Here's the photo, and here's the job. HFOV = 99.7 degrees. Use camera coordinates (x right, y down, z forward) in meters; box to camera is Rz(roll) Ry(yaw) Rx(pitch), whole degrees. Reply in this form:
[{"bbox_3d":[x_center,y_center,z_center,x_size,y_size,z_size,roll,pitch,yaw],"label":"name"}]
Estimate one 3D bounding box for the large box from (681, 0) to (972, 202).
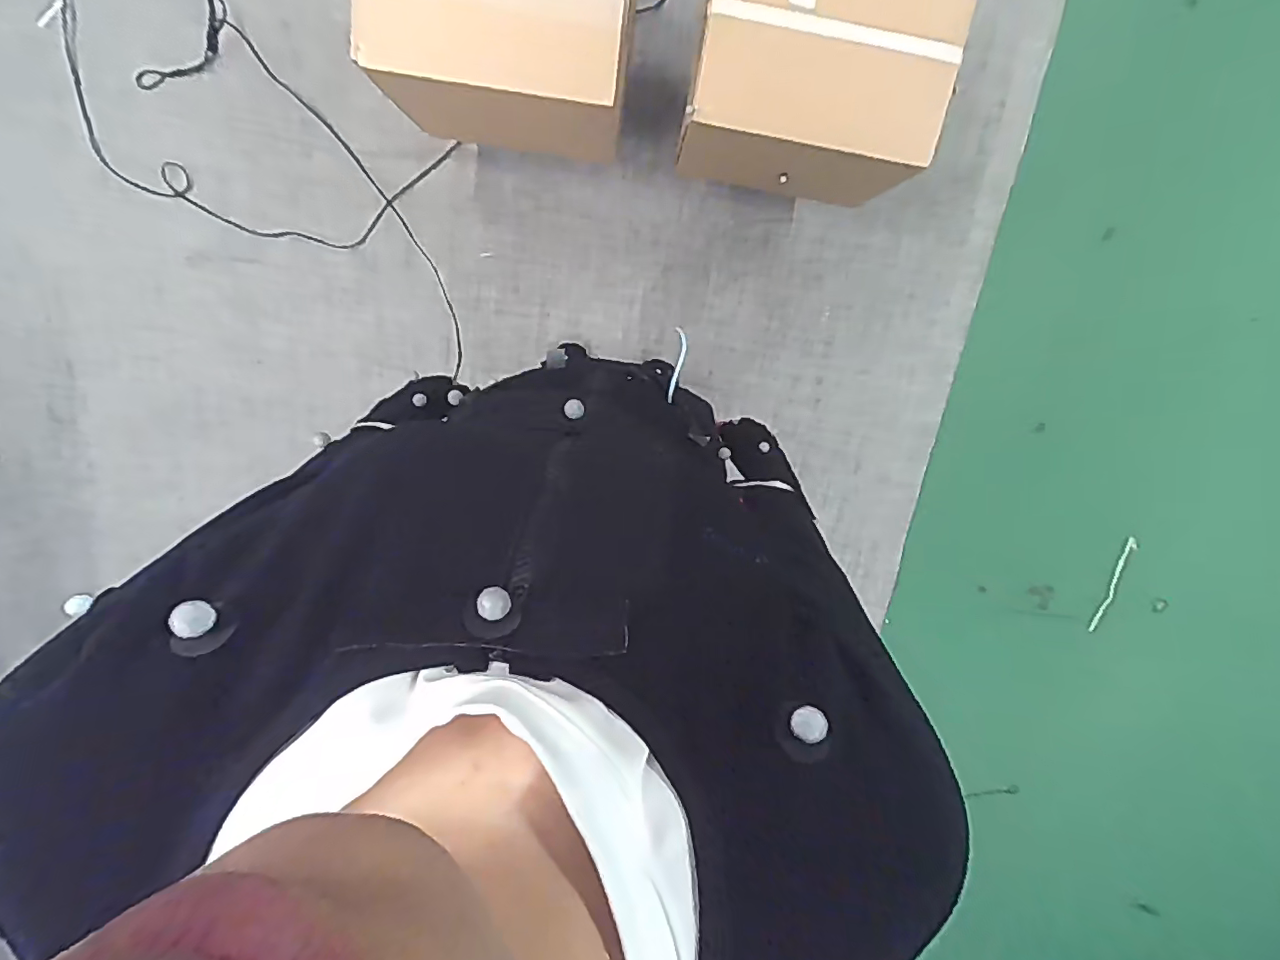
[{"bbox_3d":[0.308,-0.739,0.996,0.408,0.320,0.320,10,105,-3],"label":"large box"}]
